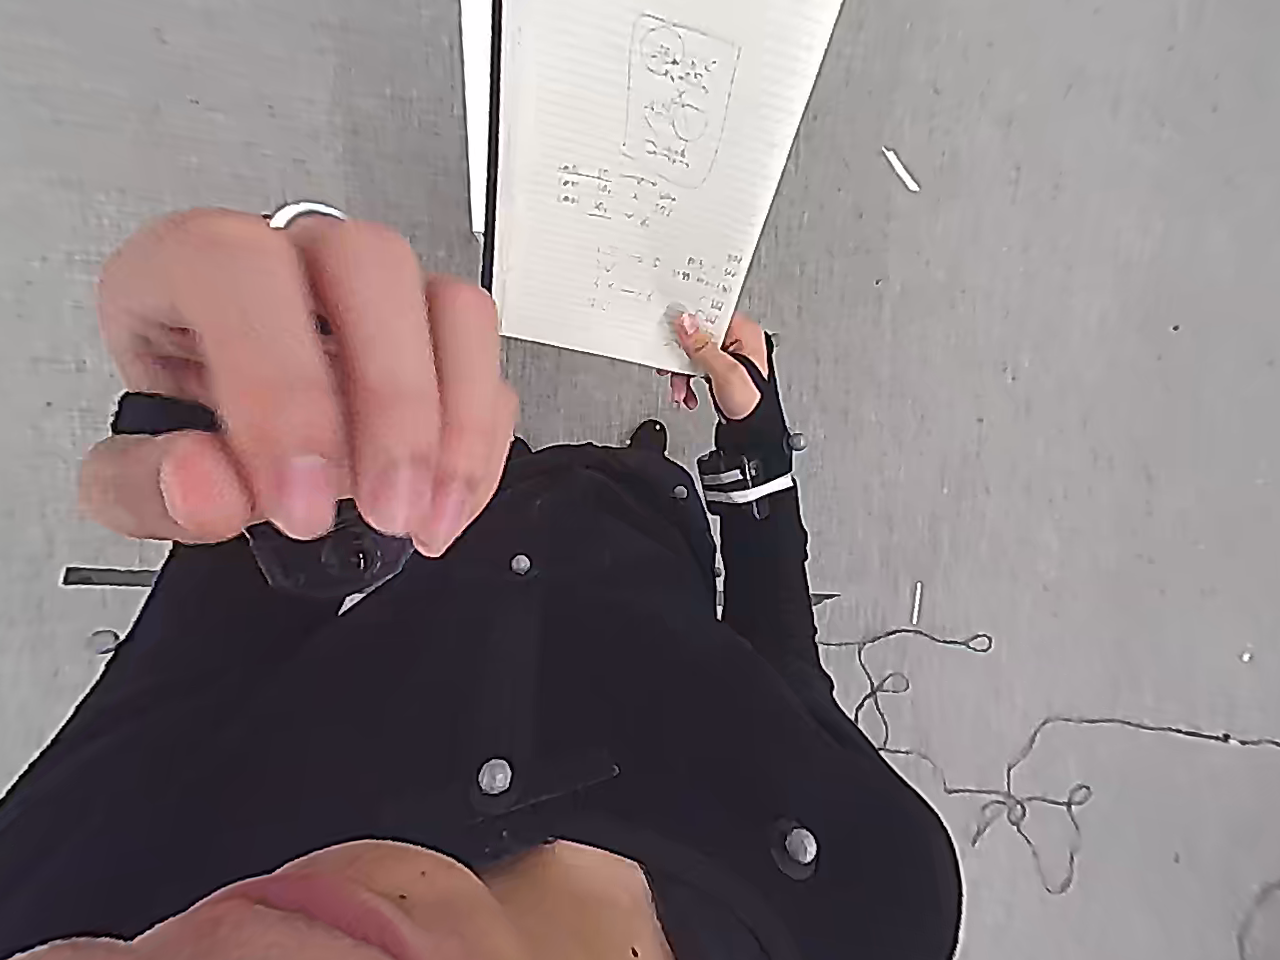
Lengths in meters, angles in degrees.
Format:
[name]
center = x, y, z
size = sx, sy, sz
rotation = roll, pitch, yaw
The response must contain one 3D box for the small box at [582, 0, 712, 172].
[small box]
center = 0.006, -0.627, 0.874
size = 0.179, 0.176, 0.168
rotation = -10, 97, -3
